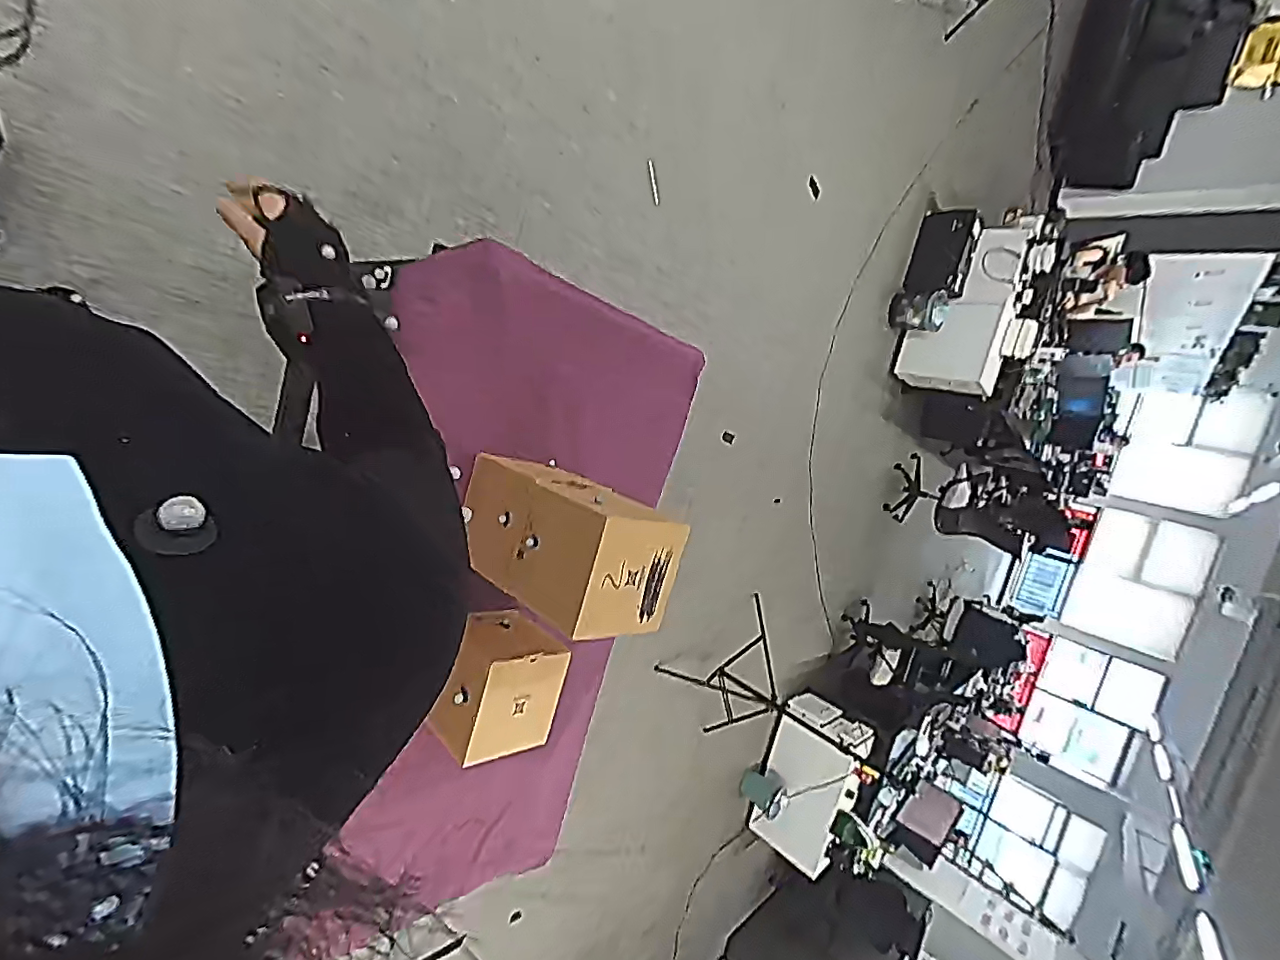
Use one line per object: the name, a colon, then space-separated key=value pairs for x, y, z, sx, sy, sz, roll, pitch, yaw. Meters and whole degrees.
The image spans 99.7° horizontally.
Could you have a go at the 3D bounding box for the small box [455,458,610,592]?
small box: x=-0.182 y=0.071 z=0.897 sx=0.168 sy=0.176 sz=0.179 roll=11 pitch=98 yaw=-49

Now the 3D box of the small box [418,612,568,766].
small box: x=-0.257 y=0.345 z=0.927 sx=0.168 sy=0.176 sz=0.179 roll=12 pitch=96 yaw=-49
